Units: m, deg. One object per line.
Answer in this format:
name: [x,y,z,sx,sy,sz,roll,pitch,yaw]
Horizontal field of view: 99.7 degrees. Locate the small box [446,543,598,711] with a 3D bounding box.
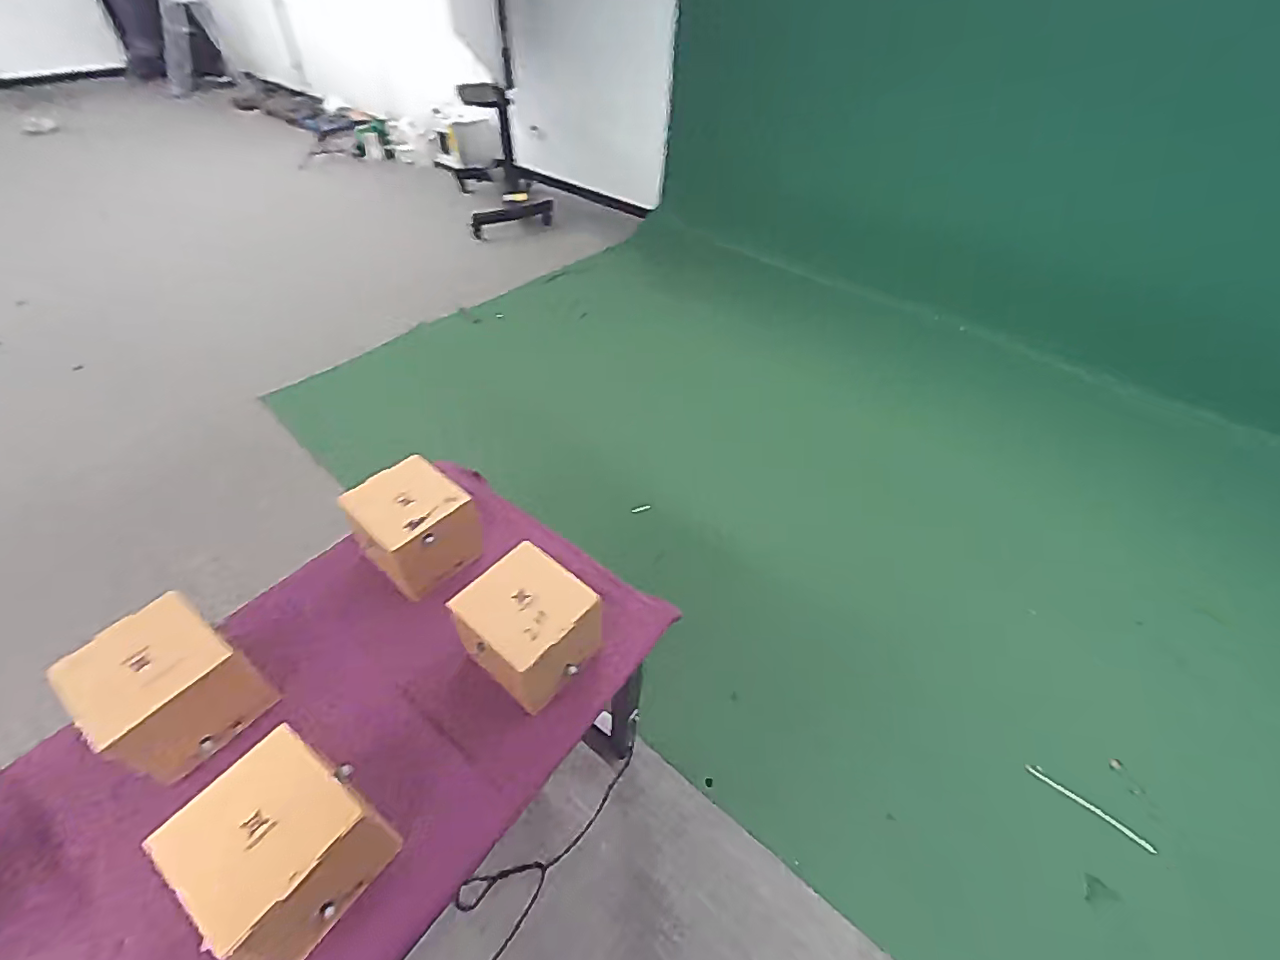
small box: [-0.187,0.245,0.894,0.179,0.176,0.168,32,53,25]

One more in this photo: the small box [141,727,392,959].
small box: [-0.447,0.455,0.673,0.179,0.176,0.168,28,50,22]

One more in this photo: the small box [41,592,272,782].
small box: [-0.698,0.308,0.799,0.179,0.176,0.168,30,52,22]

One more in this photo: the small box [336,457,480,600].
small box: [-0.433,0.094,1.028,0.179,0.176,0.168,32,53,25]
